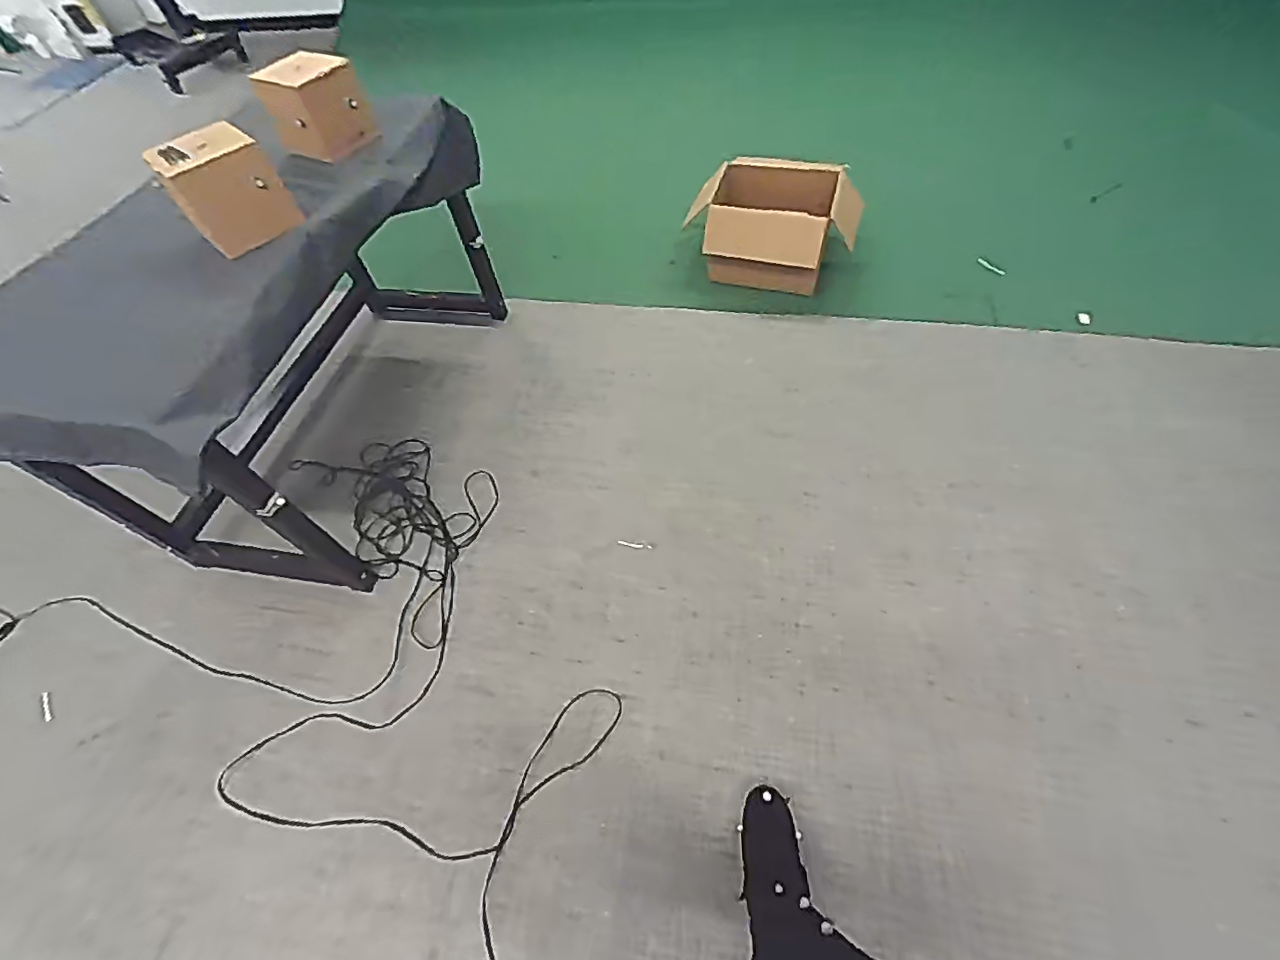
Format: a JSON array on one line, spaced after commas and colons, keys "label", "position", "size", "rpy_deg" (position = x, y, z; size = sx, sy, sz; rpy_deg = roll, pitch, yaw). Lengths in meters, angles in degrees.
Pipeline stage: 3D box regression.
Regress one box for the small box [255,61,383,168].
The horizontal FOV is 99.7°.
[{"label": "small box", "position": [-0.780, -0.898, 1.335], "size": [0.179, 0.176, 0.168], "rpy_deg": [22, 59, 21]}]
